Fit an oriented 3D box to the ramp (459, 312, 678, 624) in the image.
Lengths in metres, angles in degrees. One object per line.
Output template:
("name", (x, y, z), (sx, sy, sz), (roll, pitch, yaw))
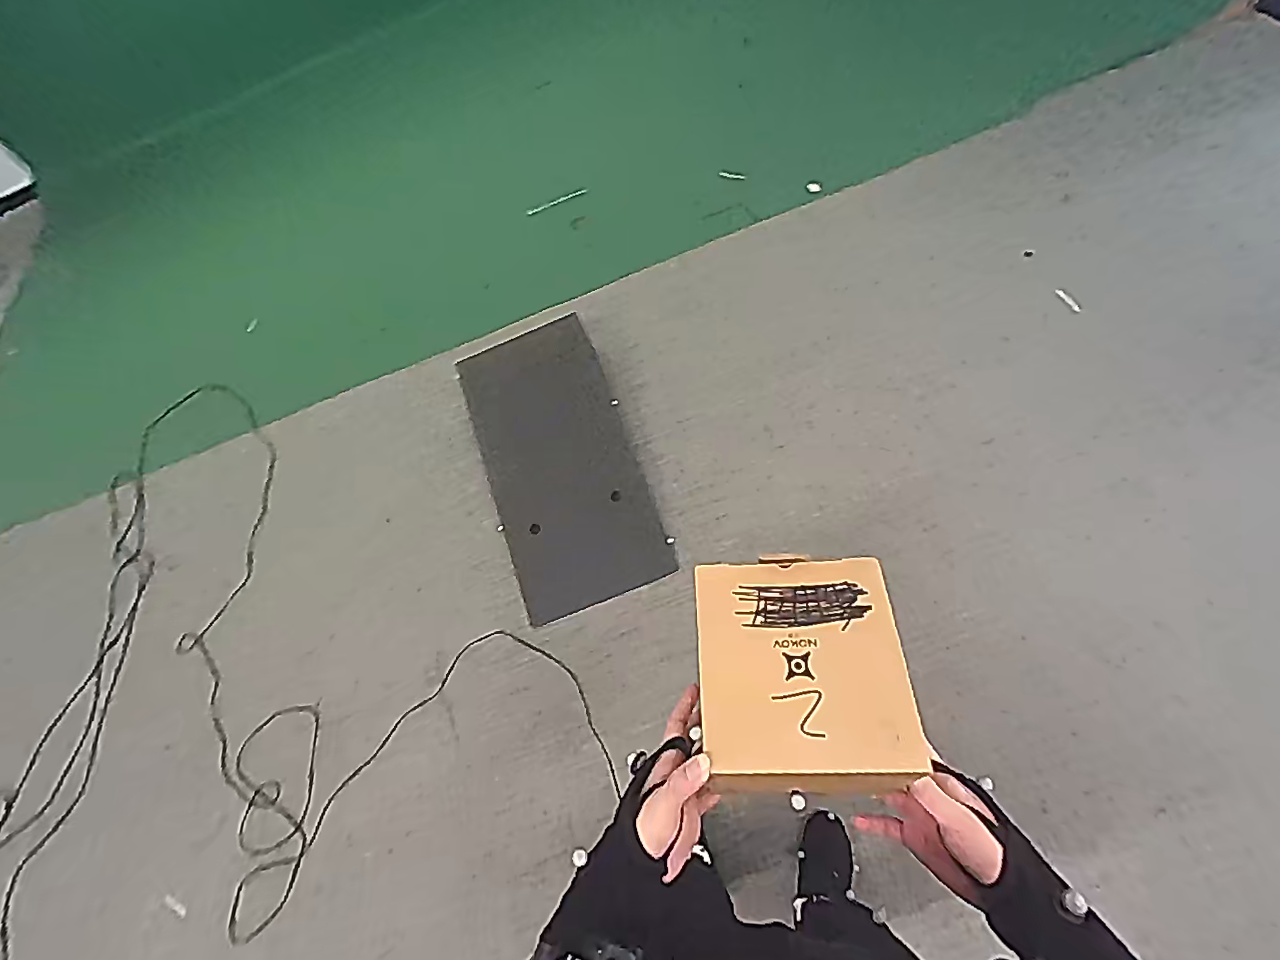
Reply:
("ramp", (-0.268, -0.082, 1.812), (0.509, 0.206, 0.991), (-23, 61, 1))
